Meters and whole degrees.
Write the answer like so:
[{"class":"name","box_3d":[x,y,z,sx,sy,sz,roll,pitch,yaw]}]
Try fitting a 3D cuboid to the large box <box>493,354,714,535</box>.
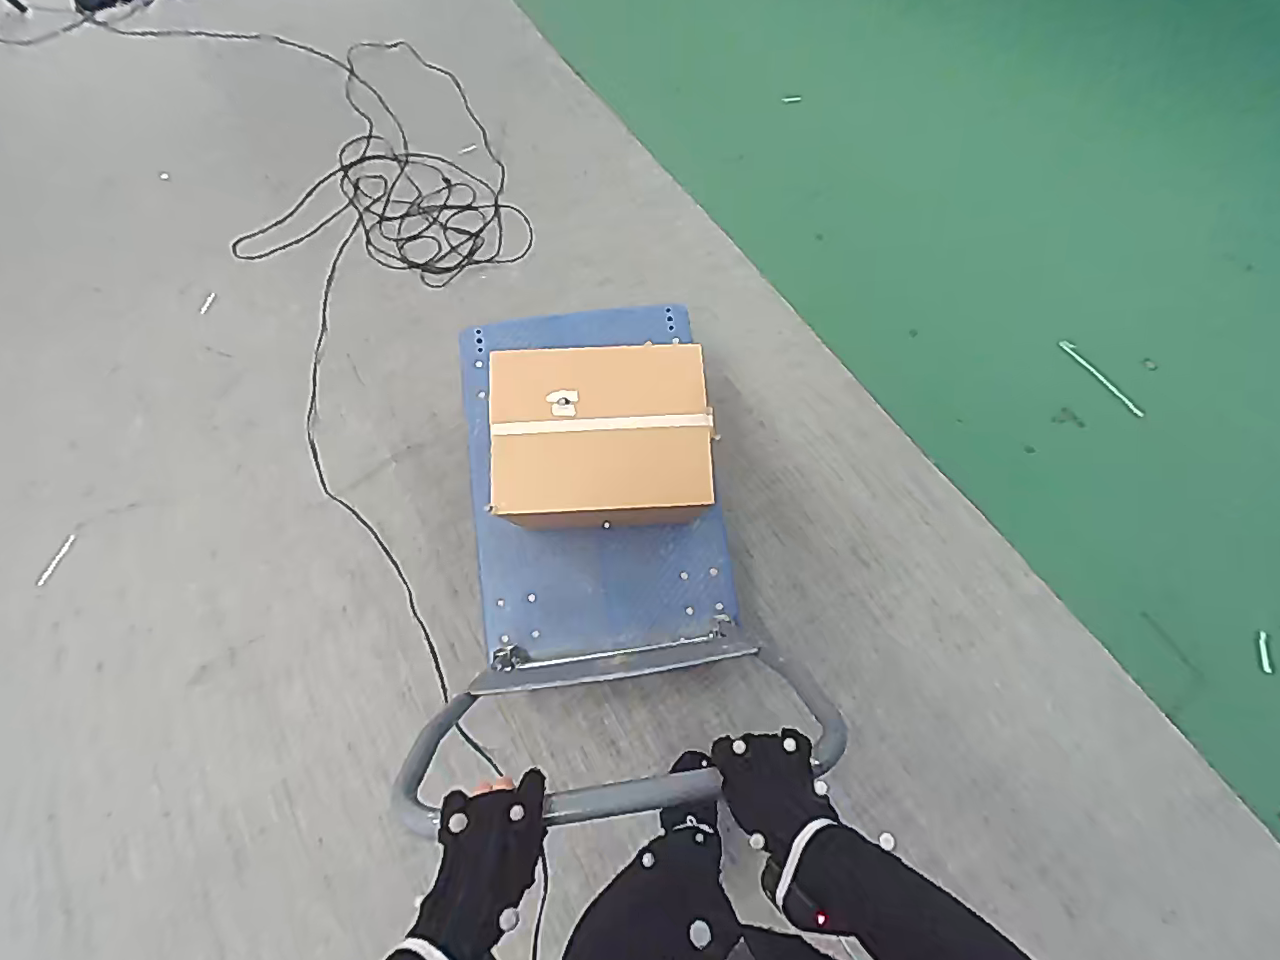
[{"class":"large box","box_3d":[-0.072,-0.055,1.149,0.408,0.320,0.320,-3,79,-1]}]
